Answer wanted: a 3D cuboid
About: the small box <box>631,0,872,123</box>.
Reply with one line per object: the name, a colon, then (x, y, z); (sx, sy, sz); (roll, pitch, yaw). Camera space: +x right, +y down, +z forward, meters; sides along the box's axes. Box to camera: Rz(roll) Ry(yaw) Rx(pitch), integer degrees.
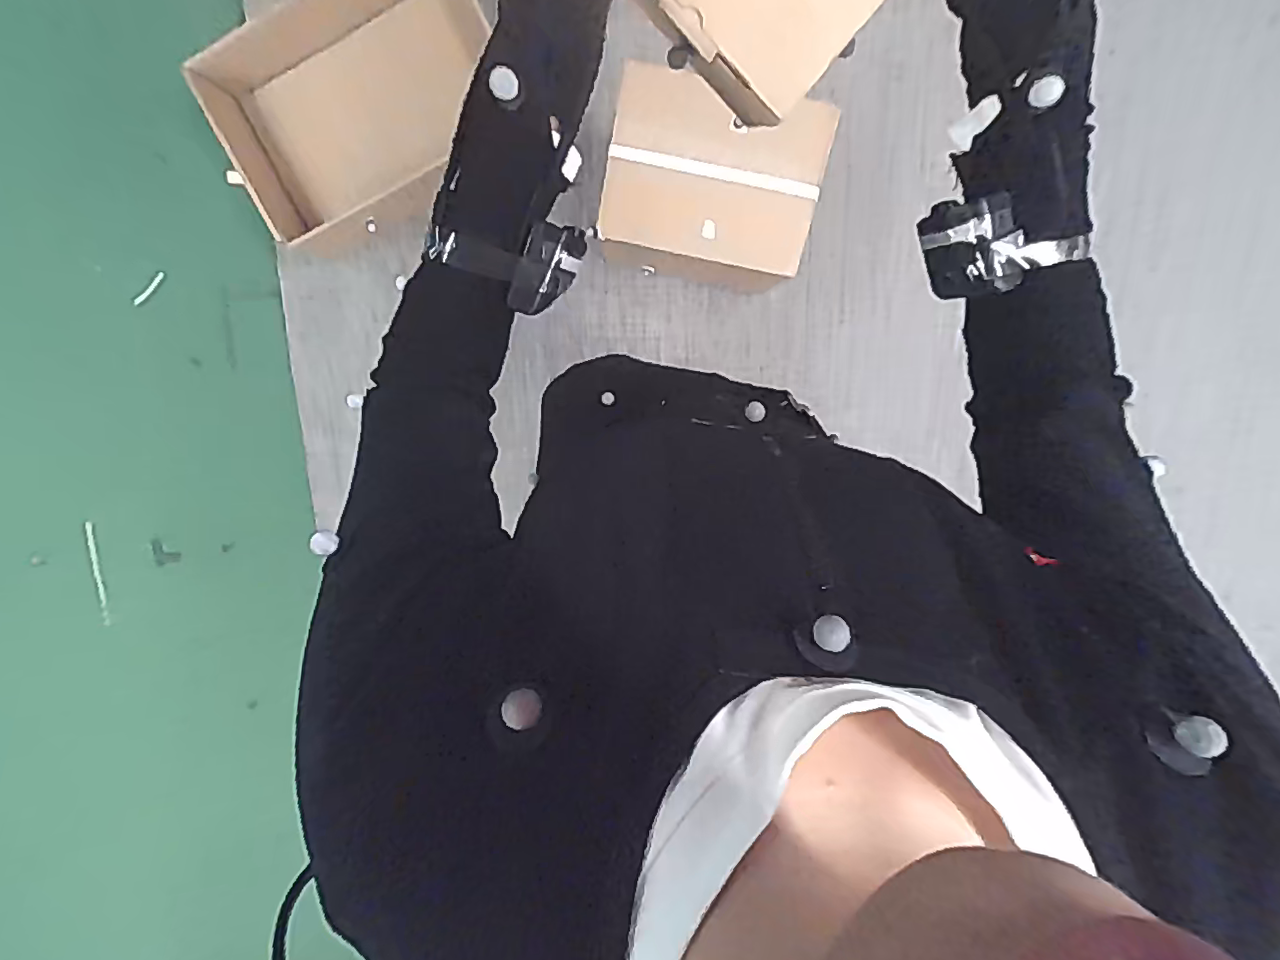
small box: (0.086, -0.377, 0.366); (0.168, 0.176, 0.179); (37, 117, -17)
